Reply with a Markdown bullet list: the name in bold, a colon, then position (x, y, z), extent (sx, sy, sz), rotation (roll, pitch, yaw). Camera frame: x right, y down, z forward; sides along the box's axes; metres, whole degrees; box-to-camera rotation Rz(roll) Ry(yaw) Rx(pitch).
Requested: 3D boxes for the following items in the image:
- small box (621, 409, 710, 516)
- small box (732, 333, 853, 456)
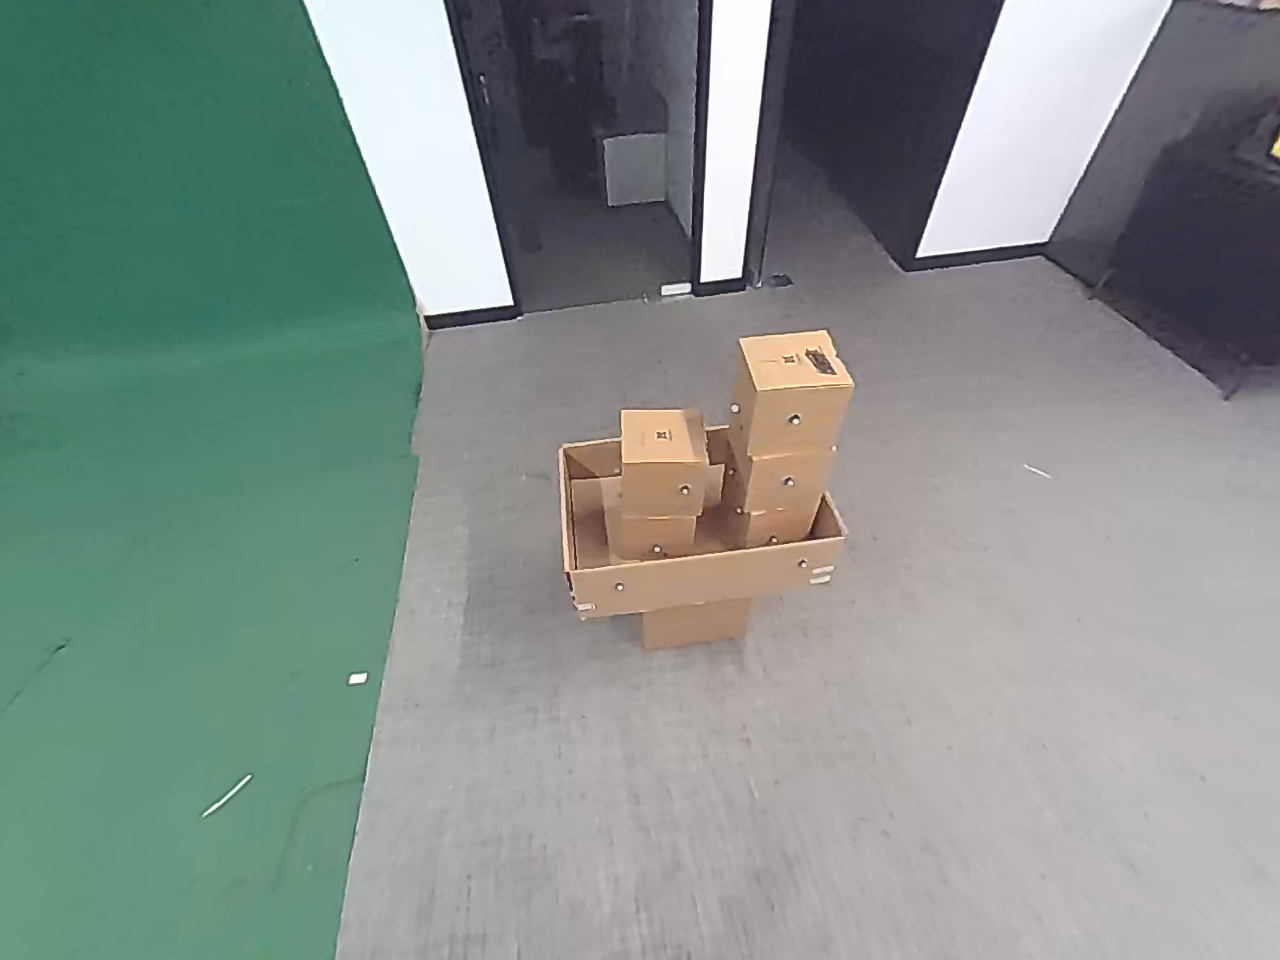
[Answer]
- **small box**: position (0.048, -0.035, 1.170), extent (0.179, 0.176, 0.168), rotation (0, 46, -1)
- **small box**: position (0.285, -0.164, 1.055), extent (0.179, 0.176, 0.168), rotation (-5, 48, -1)
